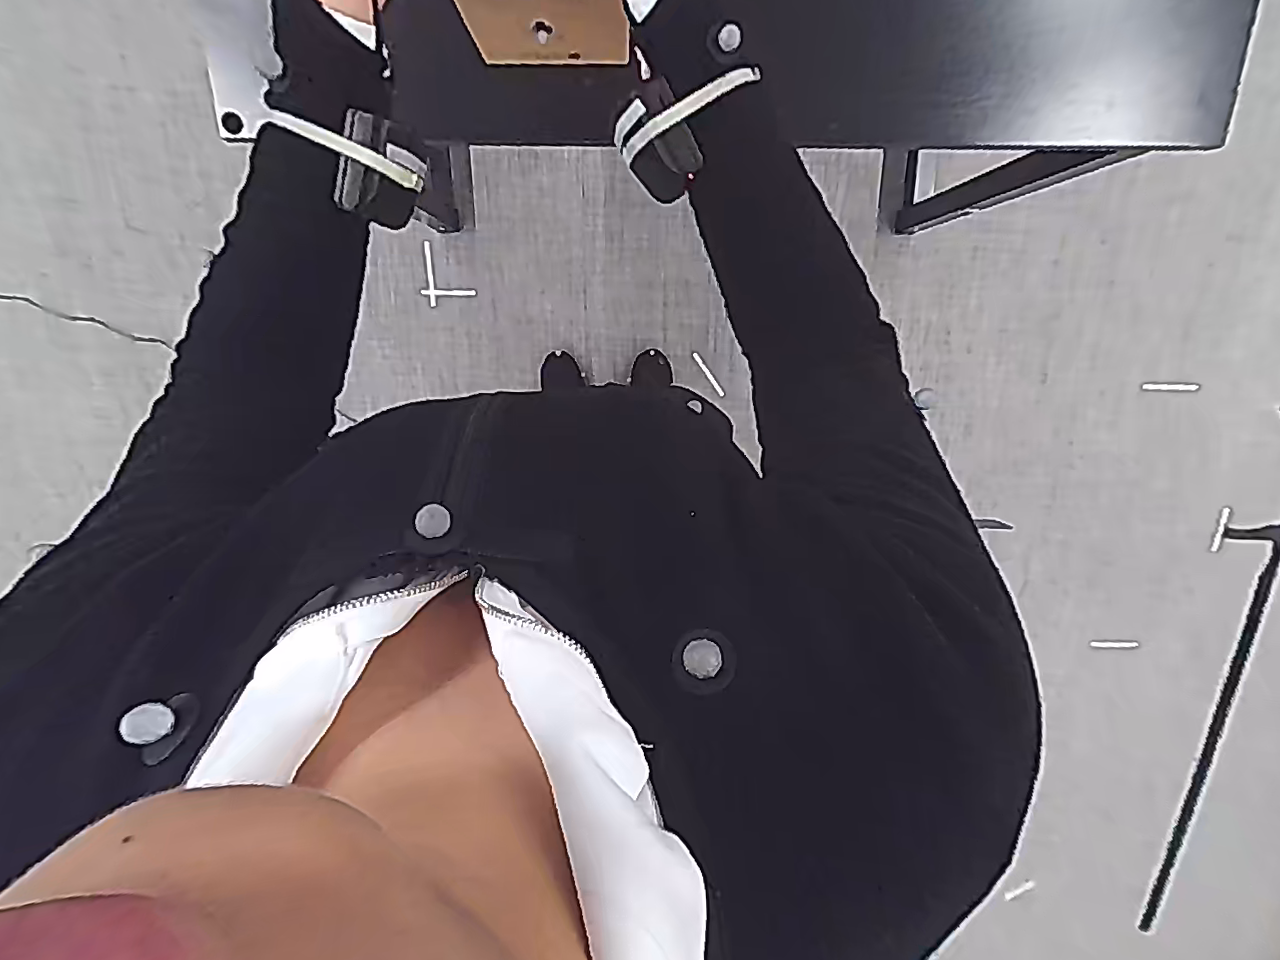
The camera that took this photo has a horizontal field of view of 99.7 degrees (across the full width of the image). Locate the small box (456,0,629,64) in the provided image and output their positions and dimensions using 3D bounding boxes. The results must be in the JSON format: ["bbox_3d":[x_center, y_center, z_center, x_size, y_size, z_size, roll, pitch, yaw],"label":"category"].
[{"bbox_3d":[-0.094,-0.545,0.532,0.168,0.176,0.179,-1,105,-2],"label":"small box"}]
